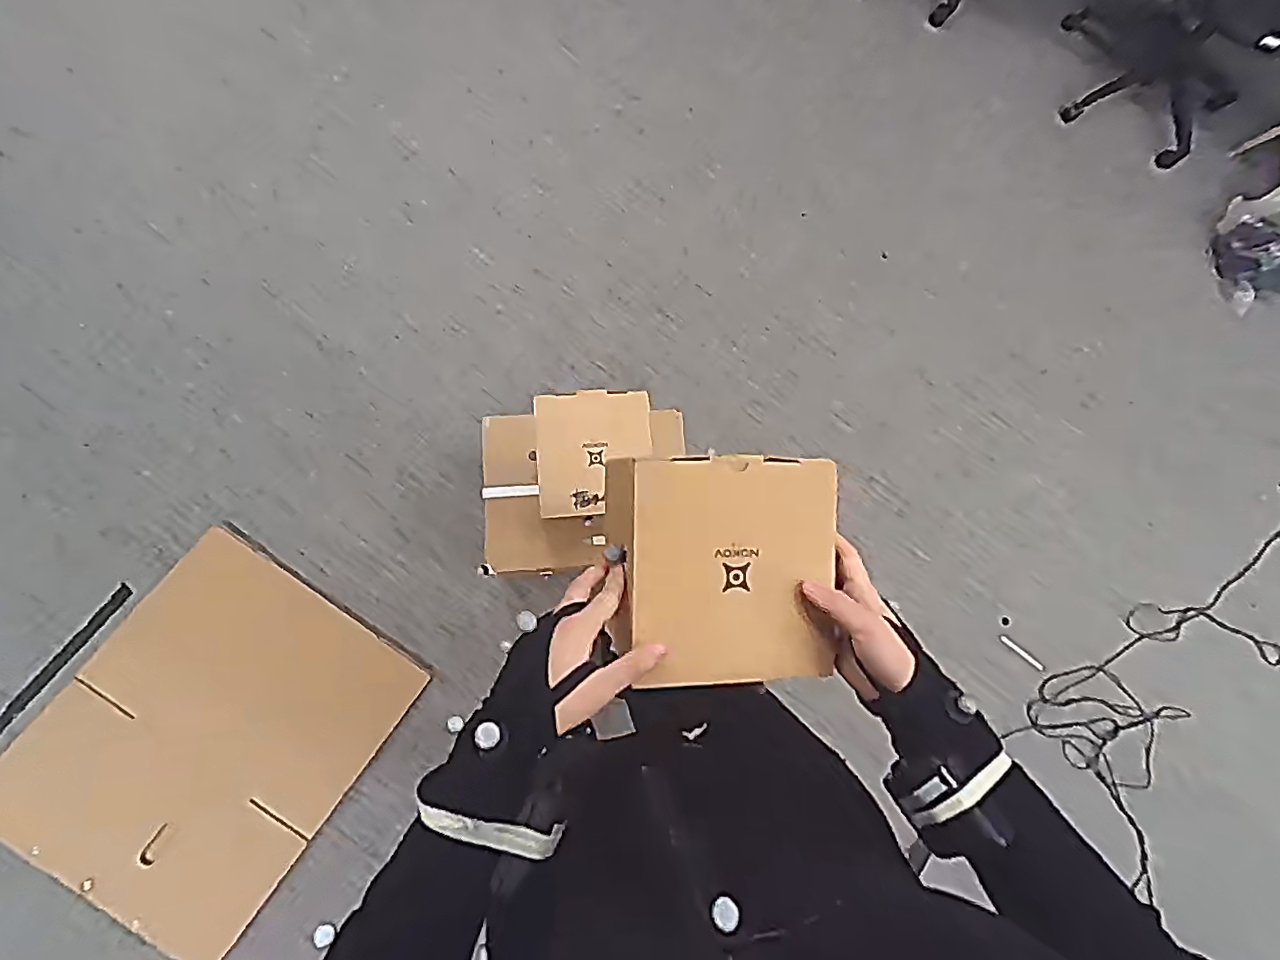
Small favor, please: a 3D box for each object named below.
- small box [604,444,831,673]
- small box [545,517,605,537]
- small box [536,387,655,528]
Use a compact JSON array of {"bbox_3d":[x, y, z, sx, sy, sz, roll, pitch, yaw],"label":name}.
[{"bbox_3d":[0.058,0.060,0.498,0.168,0.176,0.179,0,90,-10],"label":"small box"},{"bbox_3d":[-0.093,0.005,0.985,0.168,0.176,0.179,-4,81,-9],"label":"small box"},{"bbox_3d":[-0.070,-0.028,0.825,0.168,0.176,0.179,-4,79,-8],"label":"small box"}]
